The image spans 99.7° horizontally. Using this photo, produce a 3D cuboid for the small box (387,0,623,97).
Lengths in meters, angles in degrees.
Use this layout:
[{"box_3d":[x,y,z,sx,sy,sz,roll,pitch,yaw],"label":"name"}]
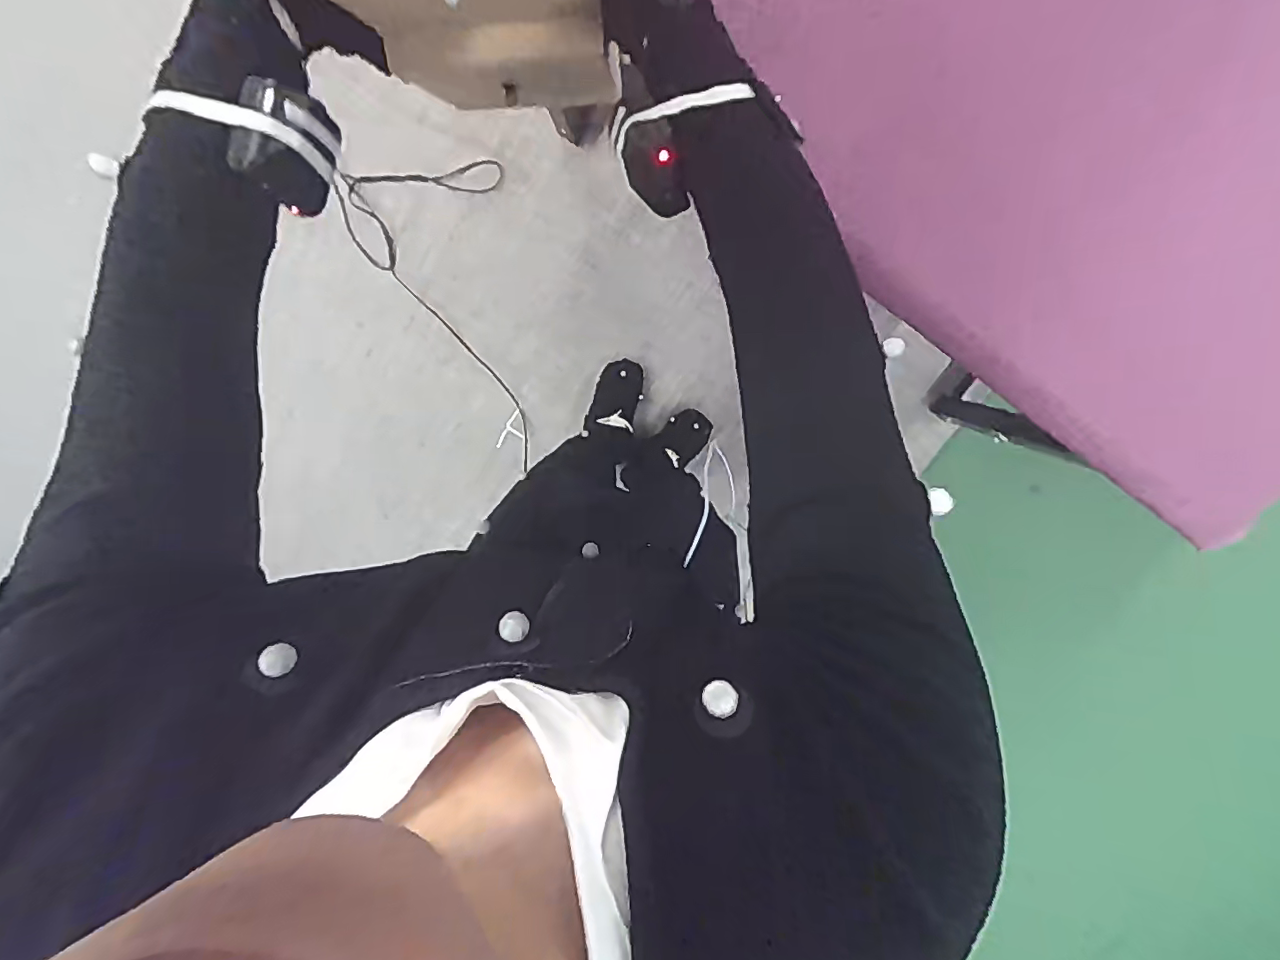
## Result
[{"box_3d":[-0.104,-0.443,0.460,0.179,0.176,0.168,1,116,2],"label":"small box"}]
